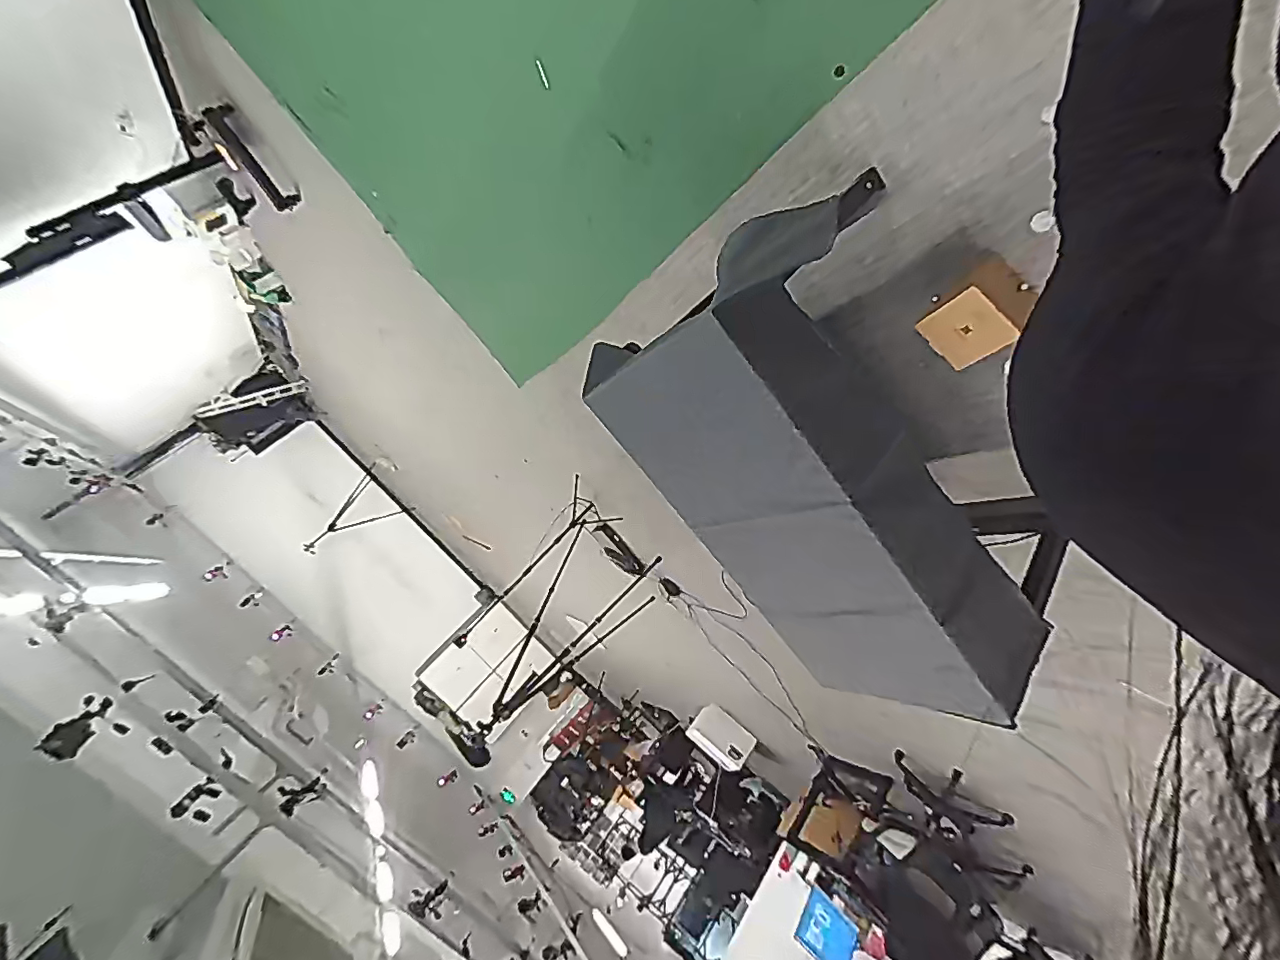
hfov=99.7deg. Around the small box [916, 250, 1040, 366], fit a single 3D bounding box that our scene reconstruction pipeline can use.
[{"bbox_3d":[0.833,-0.422,1.332,0.168,0.176,0.179,44,155,-3],"label":"small box"}]
